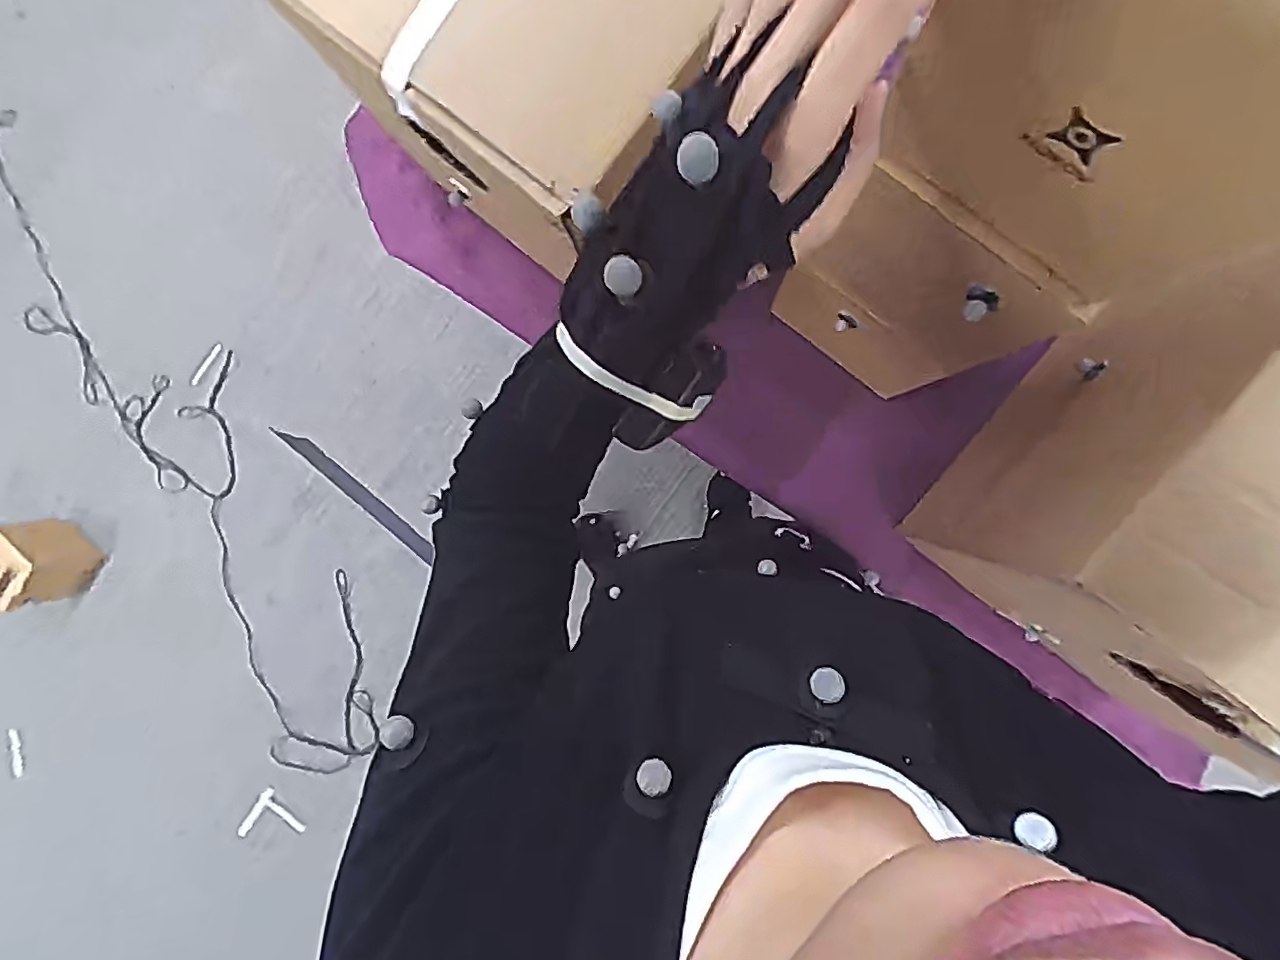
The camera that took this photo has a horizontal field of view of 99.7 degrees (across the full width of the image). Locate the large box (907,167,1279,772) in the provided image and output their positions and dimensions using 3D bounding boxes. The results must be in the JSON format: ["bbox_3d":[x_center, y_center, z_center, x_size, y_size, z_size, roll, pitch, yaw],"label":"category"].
[{"bbox_3d":[0.522,-0.007,0.454,0.320,0.320,0.408,38,93,3],"label":"large box"}]
